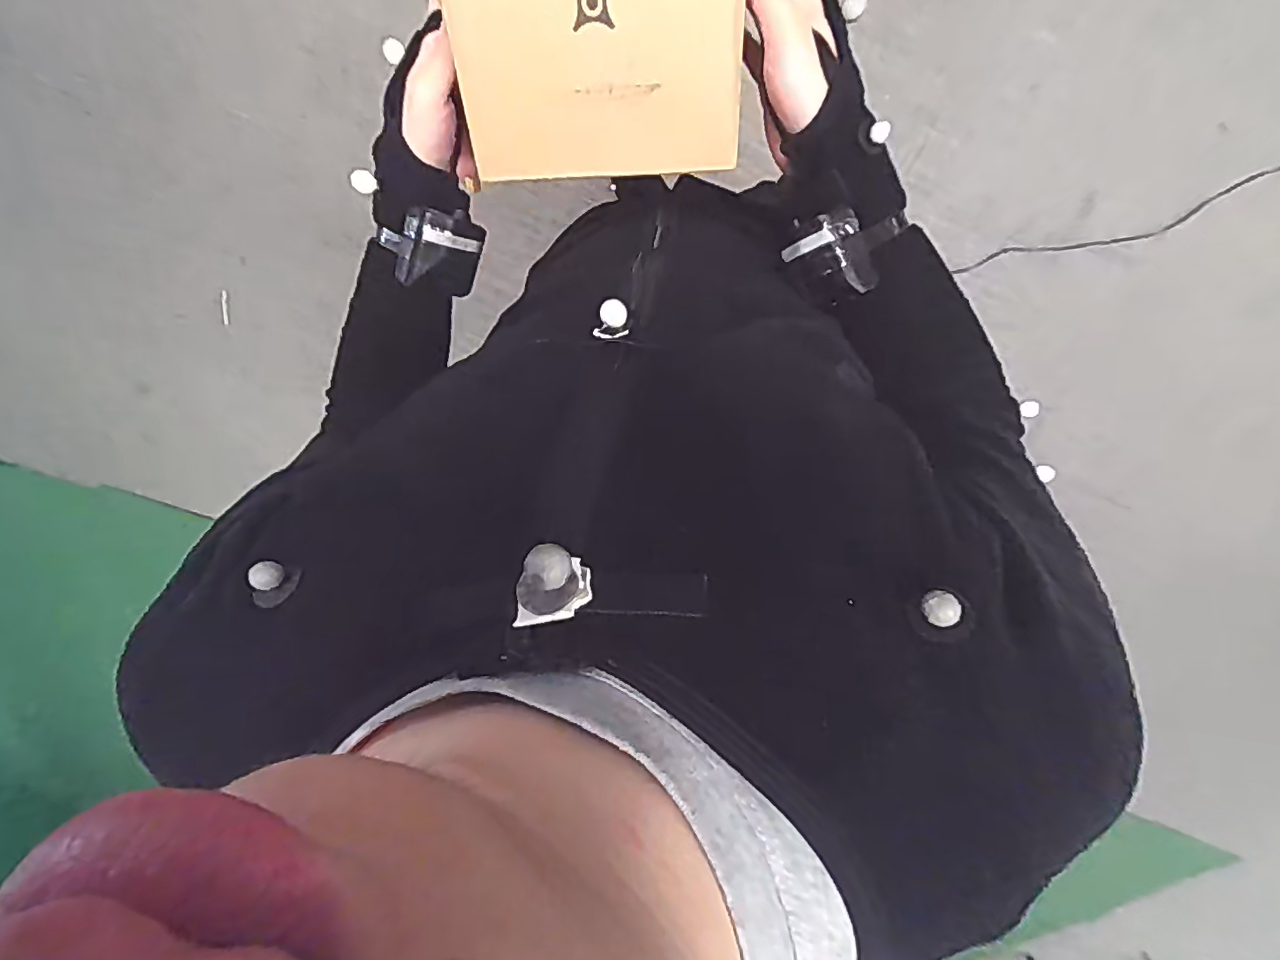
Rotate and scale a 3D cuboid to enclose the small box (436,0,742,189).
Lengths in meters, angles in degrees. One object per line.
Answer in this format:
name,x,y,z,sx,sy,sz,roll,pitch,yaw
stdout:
small box,-0.023,-0.305,0.350,0.168,0.176,0.179,1,131,5
